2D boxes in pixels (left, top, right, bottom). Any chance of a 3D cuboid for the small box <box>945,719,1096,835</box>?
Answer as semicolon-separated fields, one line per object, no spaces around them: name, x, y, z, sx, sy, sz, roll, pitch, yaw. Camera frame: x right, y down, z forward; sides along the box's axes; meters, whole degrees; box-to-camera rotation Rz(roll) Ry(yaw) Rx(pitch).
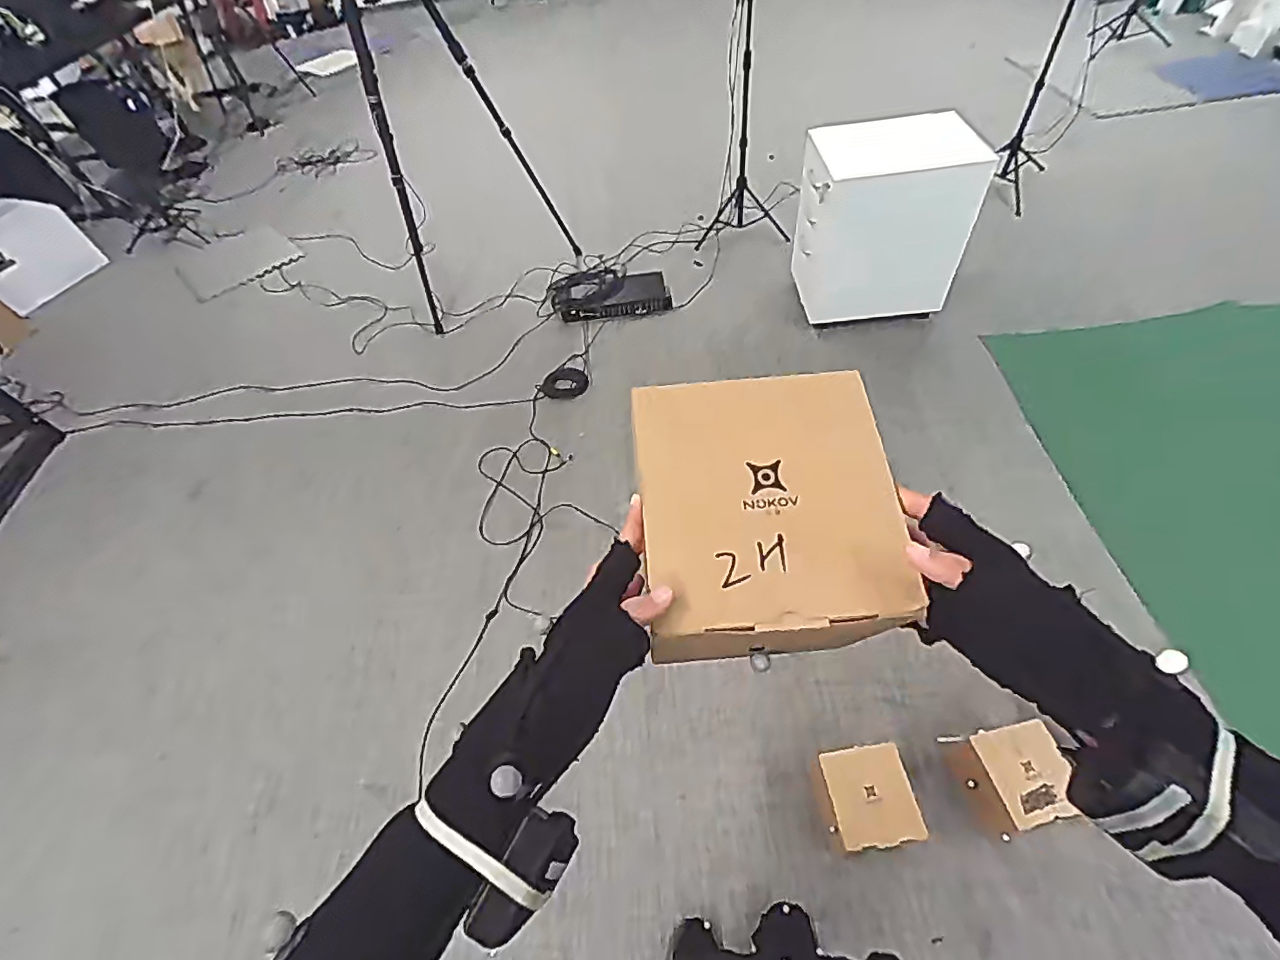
small box;0.791;0.634;1.146;0.168;0.176;0.179;-13;52;-3

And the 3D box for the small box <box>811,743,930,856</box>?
small box;0.477;0.683;1.153;0.168;0.176;0.179;-10;53;1
